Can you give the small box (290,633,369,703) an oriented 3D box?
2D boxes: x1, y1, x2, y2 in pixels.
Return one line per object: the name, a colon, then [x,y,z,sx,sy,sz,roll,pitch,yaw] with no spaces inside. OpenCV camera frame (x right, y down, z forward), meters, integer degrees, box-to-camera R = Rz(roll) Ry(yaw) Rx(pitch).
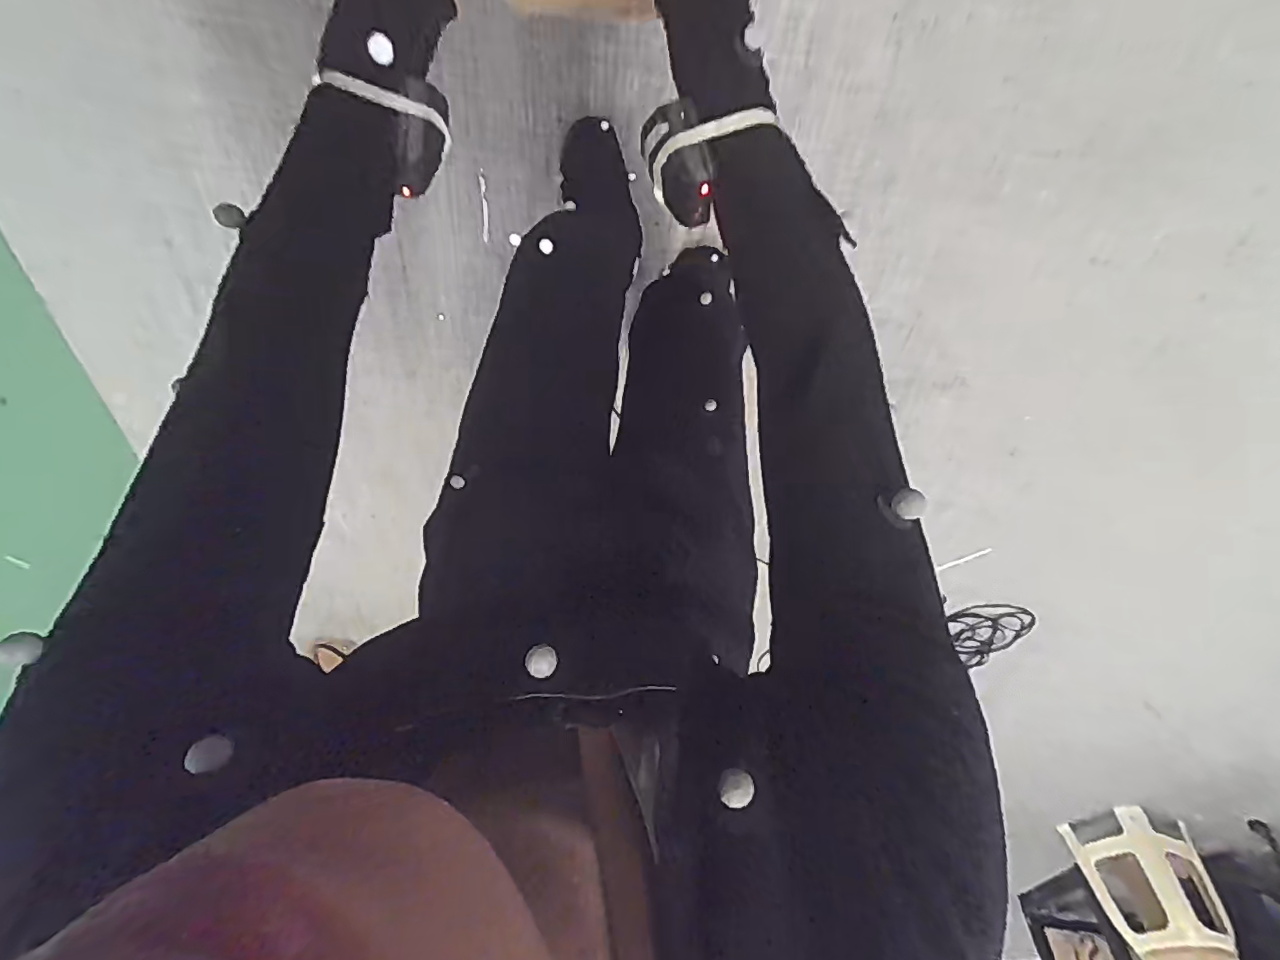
small box: [-1.111,0.673,1.950,0.168,0.176,0.179,7,130,2]
